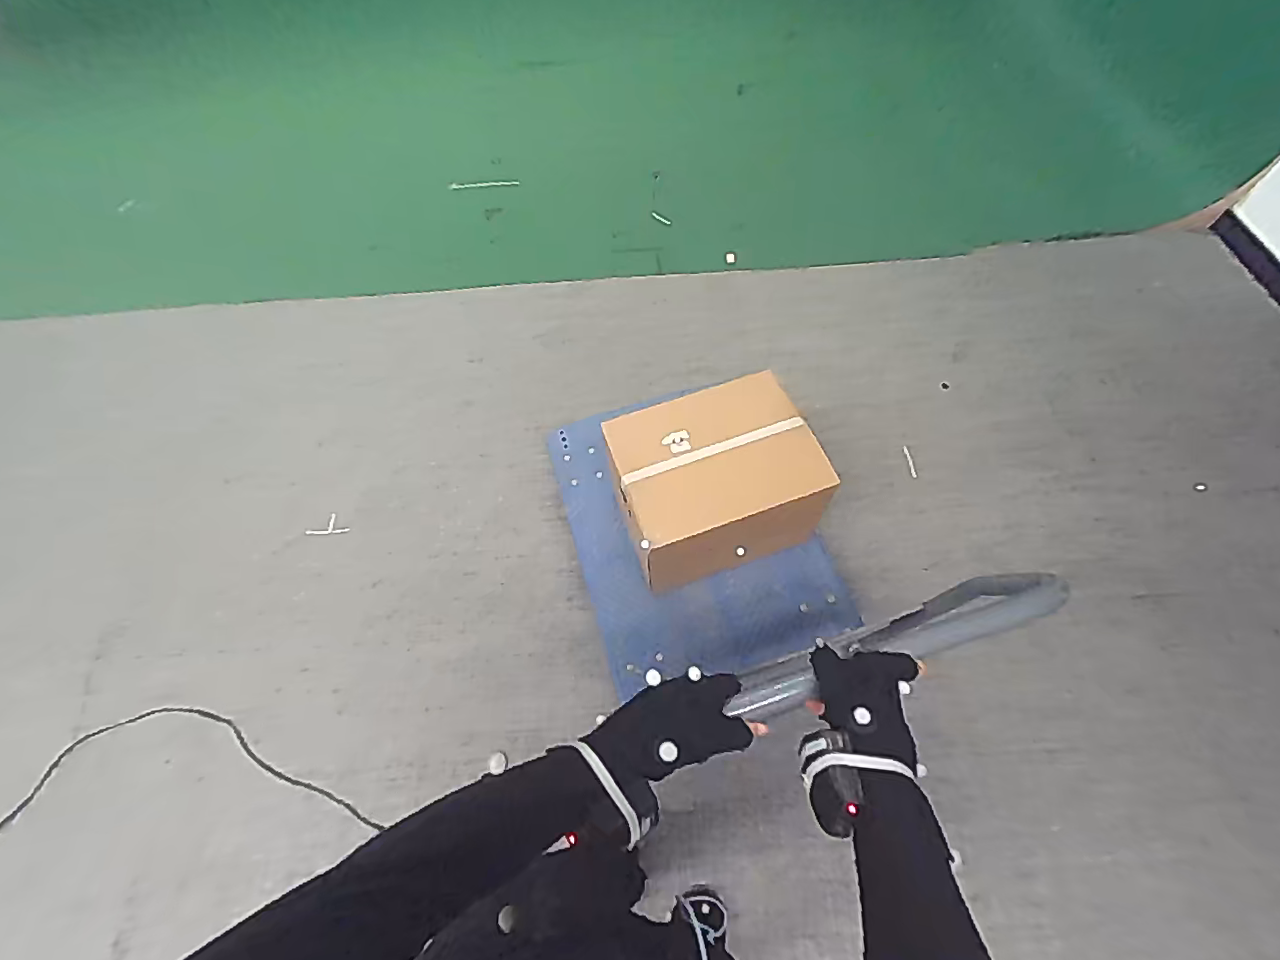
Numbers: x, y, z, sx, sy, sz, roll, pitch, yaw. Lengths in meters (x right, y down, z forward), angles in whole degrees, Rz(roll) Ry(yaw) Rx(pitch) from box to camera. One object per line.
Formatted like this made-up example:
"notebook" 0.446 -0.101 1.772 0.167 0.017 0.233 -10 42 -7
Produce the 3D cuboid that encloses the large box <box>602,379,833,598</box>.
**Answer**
"large box" 0.162 0.031 1.256 0.408 0.320 0.320 -19 61 -6
